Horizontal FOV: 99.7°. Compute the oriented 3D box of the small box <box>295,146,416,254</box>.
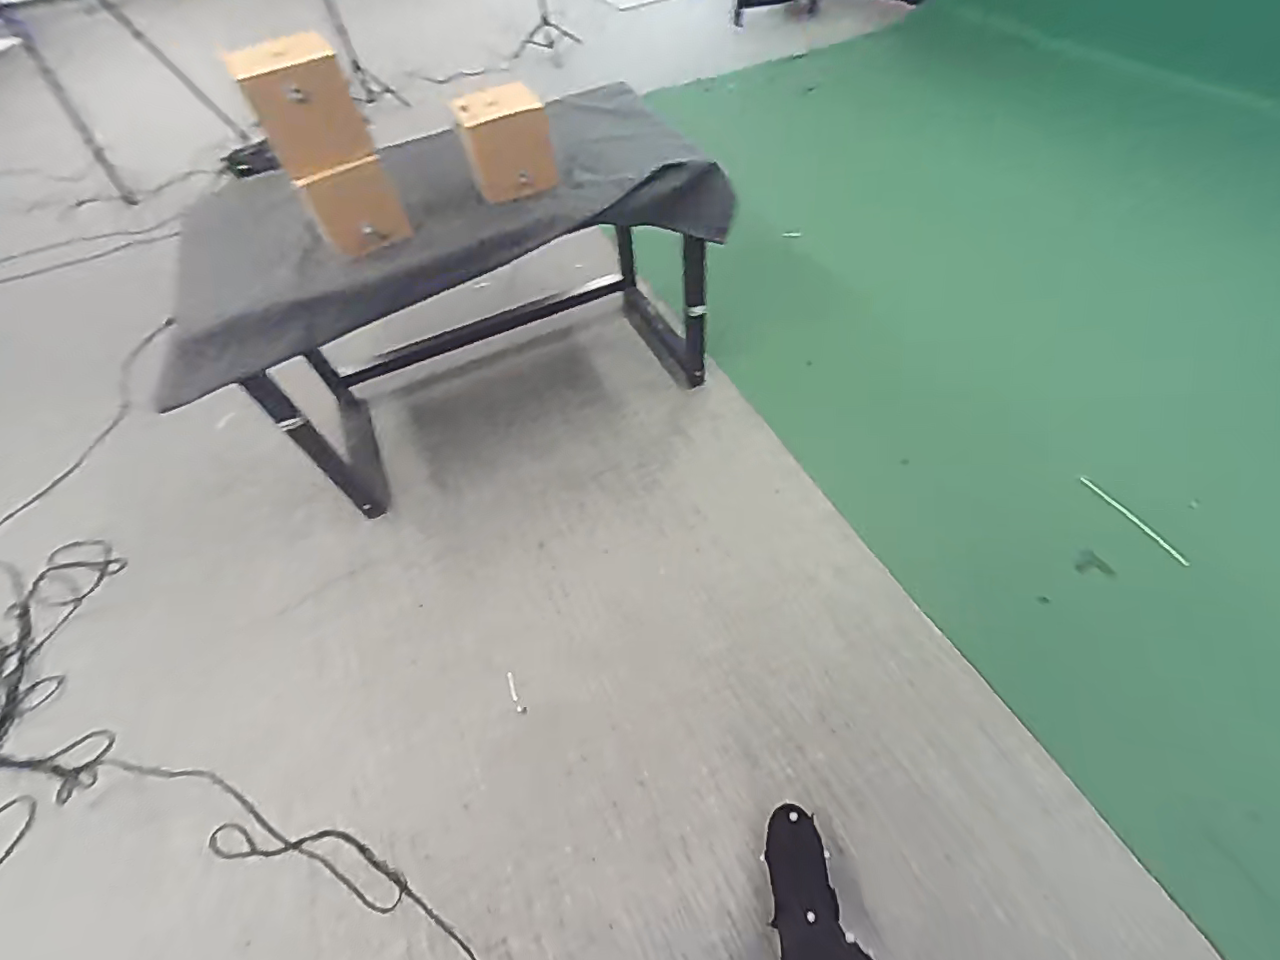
[{"bbox_3d":[-0.610,-0.613,1.148,0.168,0.176,0.179,-32,58,-16],"label":"small box"}]

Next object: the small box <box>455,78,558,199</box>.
[{"bbox_3d":[-0.295,-0.775,1.232,0.179,0.176,0.168,-22,56,-10],"label":"small box"}]

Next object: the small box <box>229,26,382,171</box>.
[{"bbox_3d":[-0.627,-0.719,1.025,0.179,0.176,0.168,-28,58,-15],"label":"small box"}]
